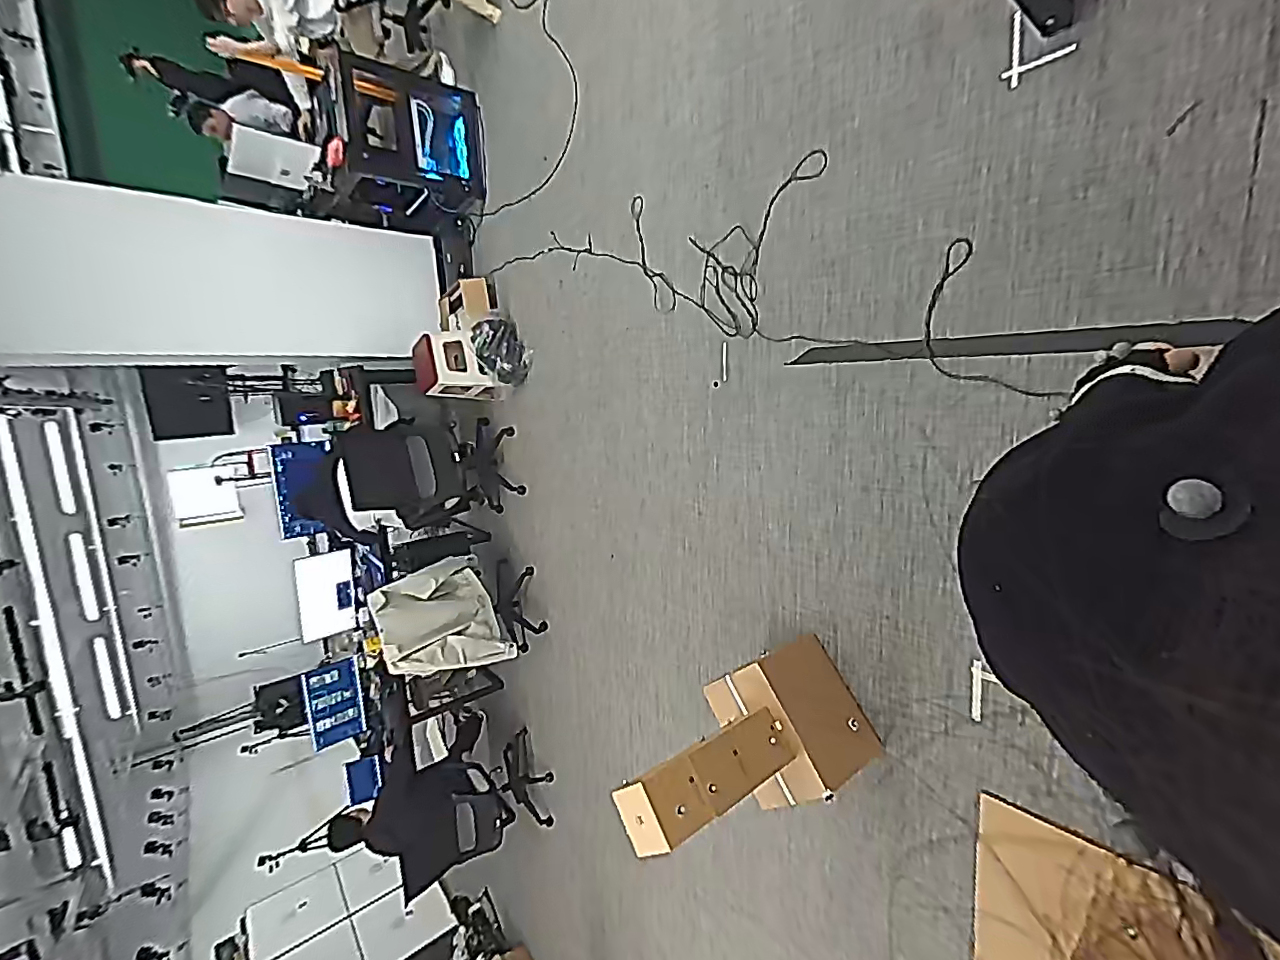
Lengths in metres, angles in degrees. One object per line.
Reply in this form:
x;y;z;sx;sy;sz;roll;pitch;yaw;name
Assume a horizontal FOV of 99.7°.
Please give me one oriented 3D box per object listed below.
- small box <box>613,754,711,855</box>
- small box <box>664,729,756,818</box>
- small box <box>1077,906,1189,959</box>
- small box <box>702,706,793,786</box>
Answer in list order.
0.064;0.849;1.423;0.179;0.176;0.168;-52;58;44;small box
0.191;0.831;1.523;0.179;0.176;0.168;-51;59;44;small box
1.096;1.113;1.195;0.168;0.176;0.179;-5;94;50;small box
0.320;0.808;1.622;0.179;0.176;0.168;-51;59;43;small box
